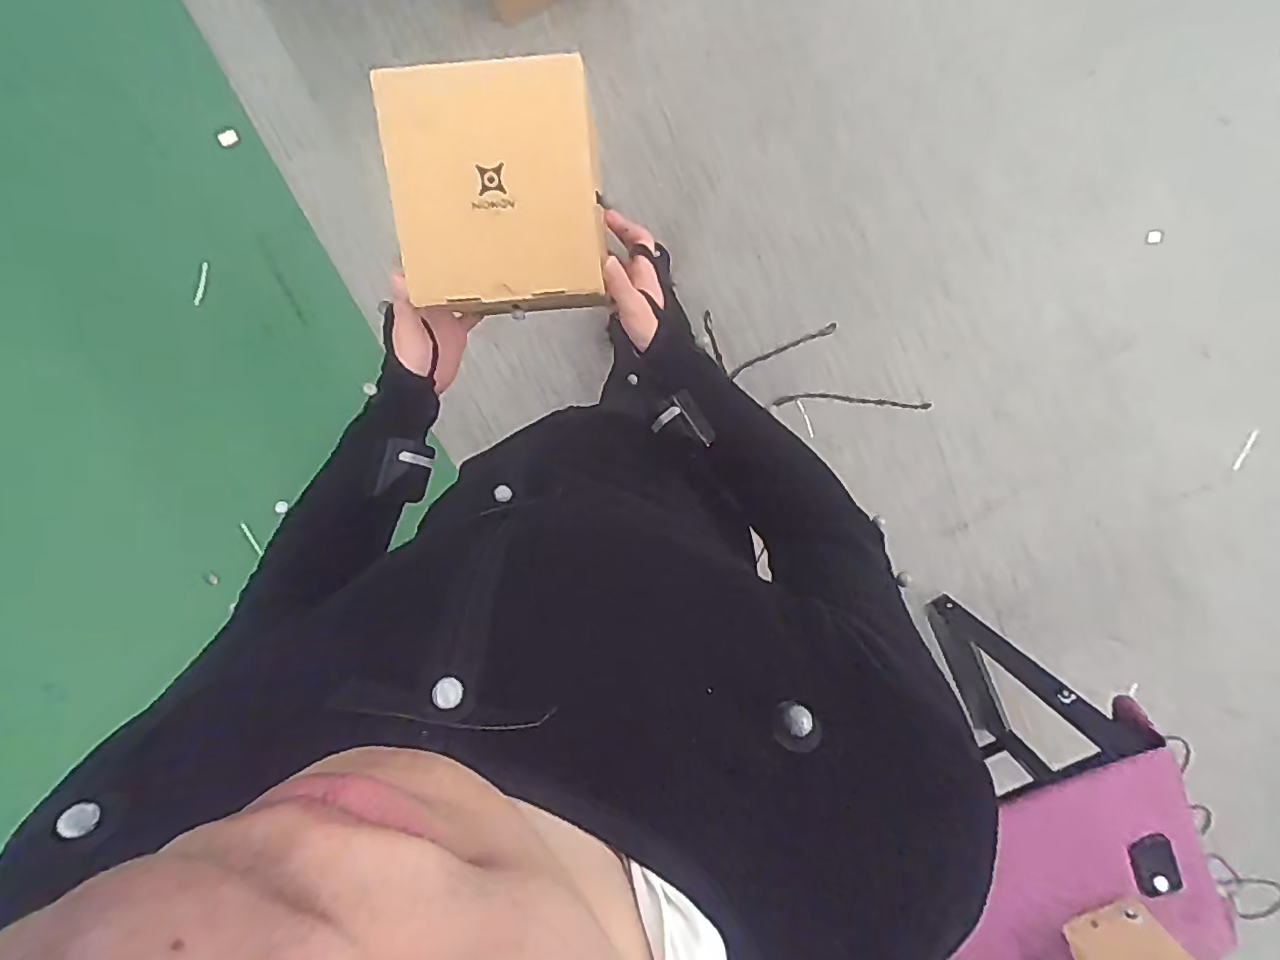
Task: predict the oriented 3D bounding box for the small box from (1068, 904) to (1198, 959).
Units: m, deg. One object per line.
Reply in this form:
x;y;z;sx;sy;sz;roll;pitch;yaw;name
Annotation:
1.007;0.993;1.076;0.168;0.176;0.179;-27;104;6;small box

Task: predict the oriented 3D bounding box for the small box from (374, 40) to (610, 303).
-0.119;-0.268;0.511;0.168;0.176;0.179;-4;106;1;small box
